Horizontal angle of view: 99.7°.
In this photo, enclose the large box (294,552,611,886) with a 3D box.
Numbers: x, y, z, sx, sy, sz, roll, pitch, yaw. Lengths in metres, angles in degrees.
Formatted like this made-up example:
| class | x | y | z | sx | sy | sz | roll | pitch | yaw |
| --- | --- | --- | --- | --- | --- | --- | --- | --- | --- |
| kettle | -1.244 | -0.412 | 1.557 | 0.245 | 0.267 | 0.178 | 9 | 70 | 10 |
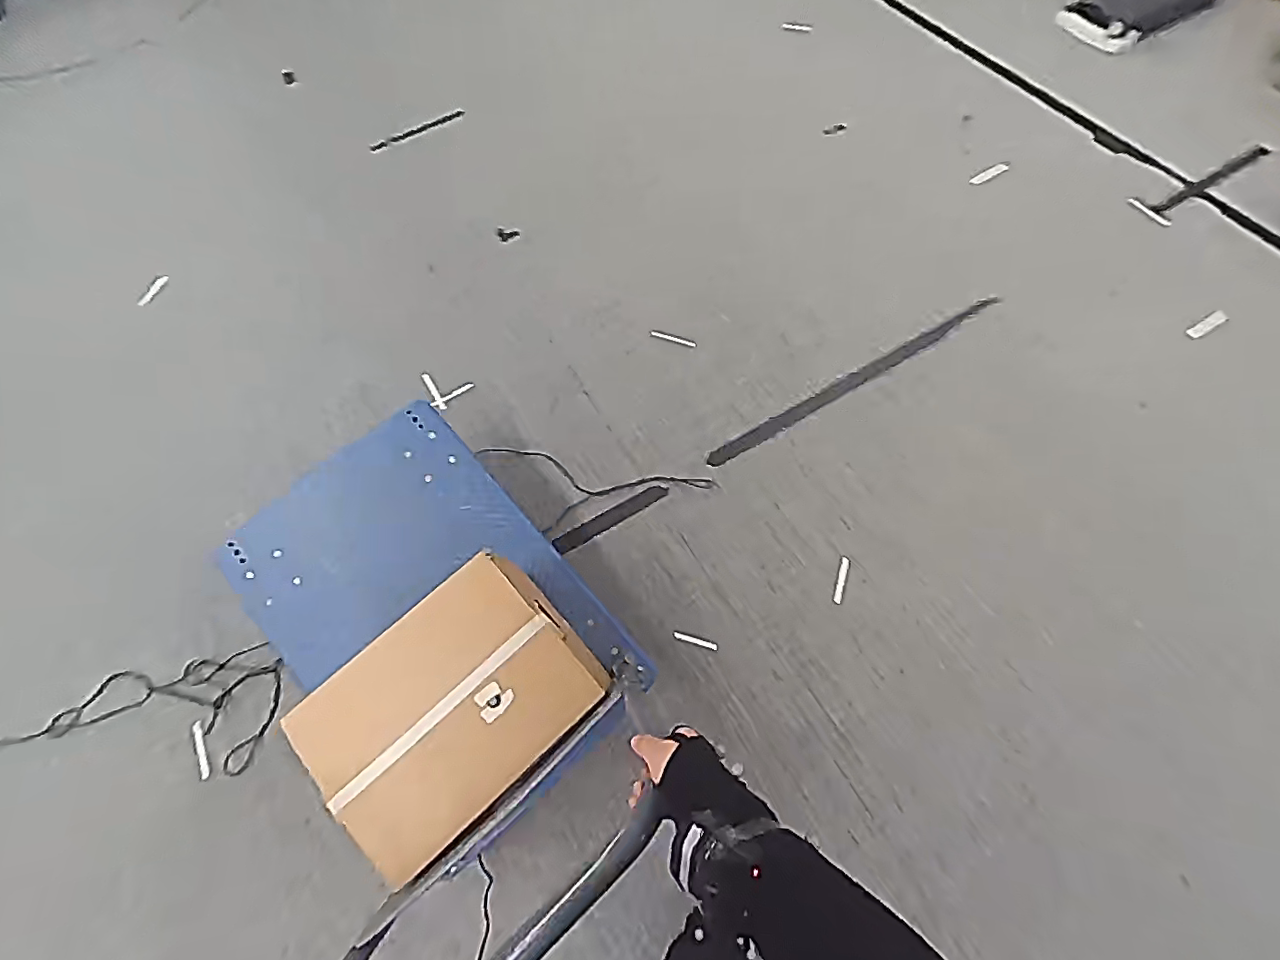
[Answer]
| class | x | y | z | sx | sy | sz | roll | pitch | yaw |
| --- | --- | --- | --- | --- | --- | --- | --- | --- | --- |
| large box | -0.301 | 0.402 | 0.996 | 0.408 | 0.320 | 0.320 | -42 | 79 | -13 |
